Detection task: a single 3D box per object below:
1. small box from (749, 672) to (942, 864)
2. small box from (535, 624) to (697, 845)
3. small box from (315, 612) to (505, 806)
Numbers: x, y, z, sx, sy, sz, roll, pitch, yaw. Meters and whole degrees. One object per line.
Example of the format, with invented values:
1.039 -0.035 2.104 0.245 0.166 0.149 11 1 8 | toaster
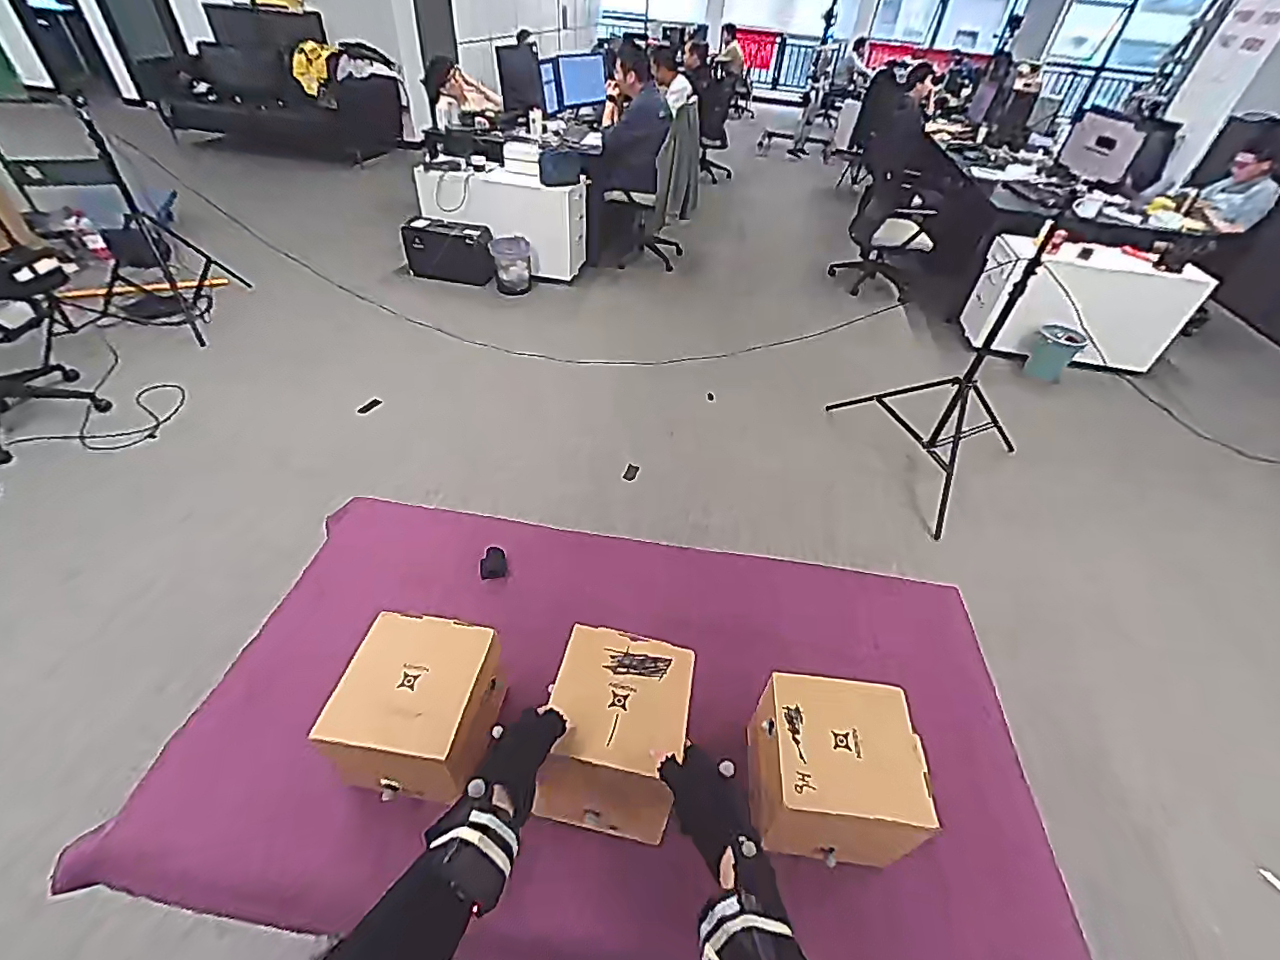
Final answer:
0.249 0.378 0.705 0.179 0.176 0.168 7 42 2 | small box
-0.031 0.321 0.691 0.168 0.176 0.179 12 35 4 | small box
-0.288 0.307 0.729 0.168 0.176 0.179 7 43 4 | small box
